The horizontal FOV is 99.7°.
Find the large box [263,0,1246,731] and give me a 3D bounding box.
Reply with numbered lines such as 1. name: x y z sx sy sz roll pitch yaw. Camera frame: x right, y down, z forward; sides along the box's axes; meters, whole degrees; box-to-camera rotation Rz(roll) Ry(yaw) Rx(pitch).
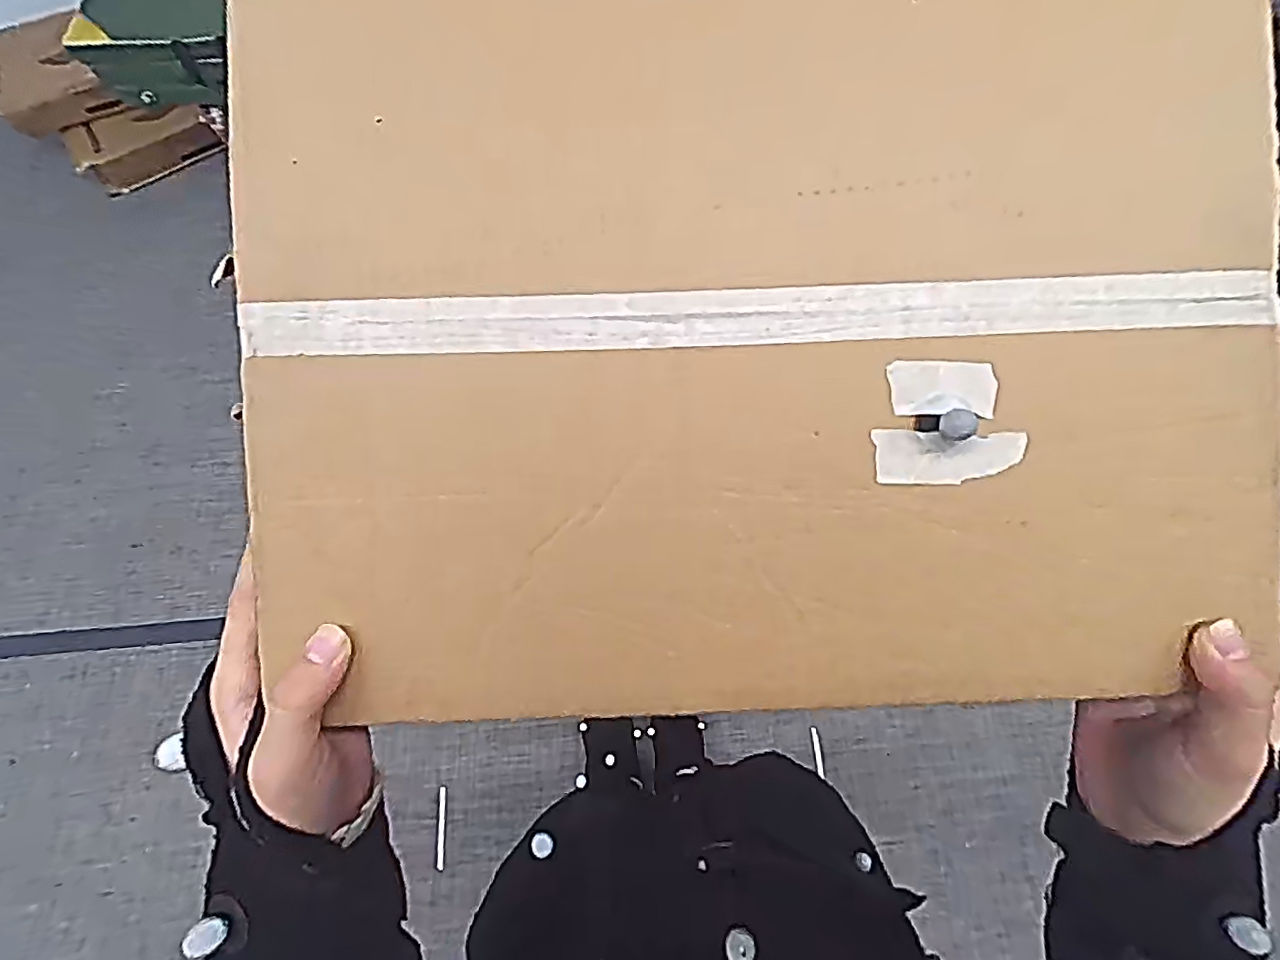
1. large box: 0.046 -0.060 0.372 0.408 0.320 0.320 -2 91 -2
